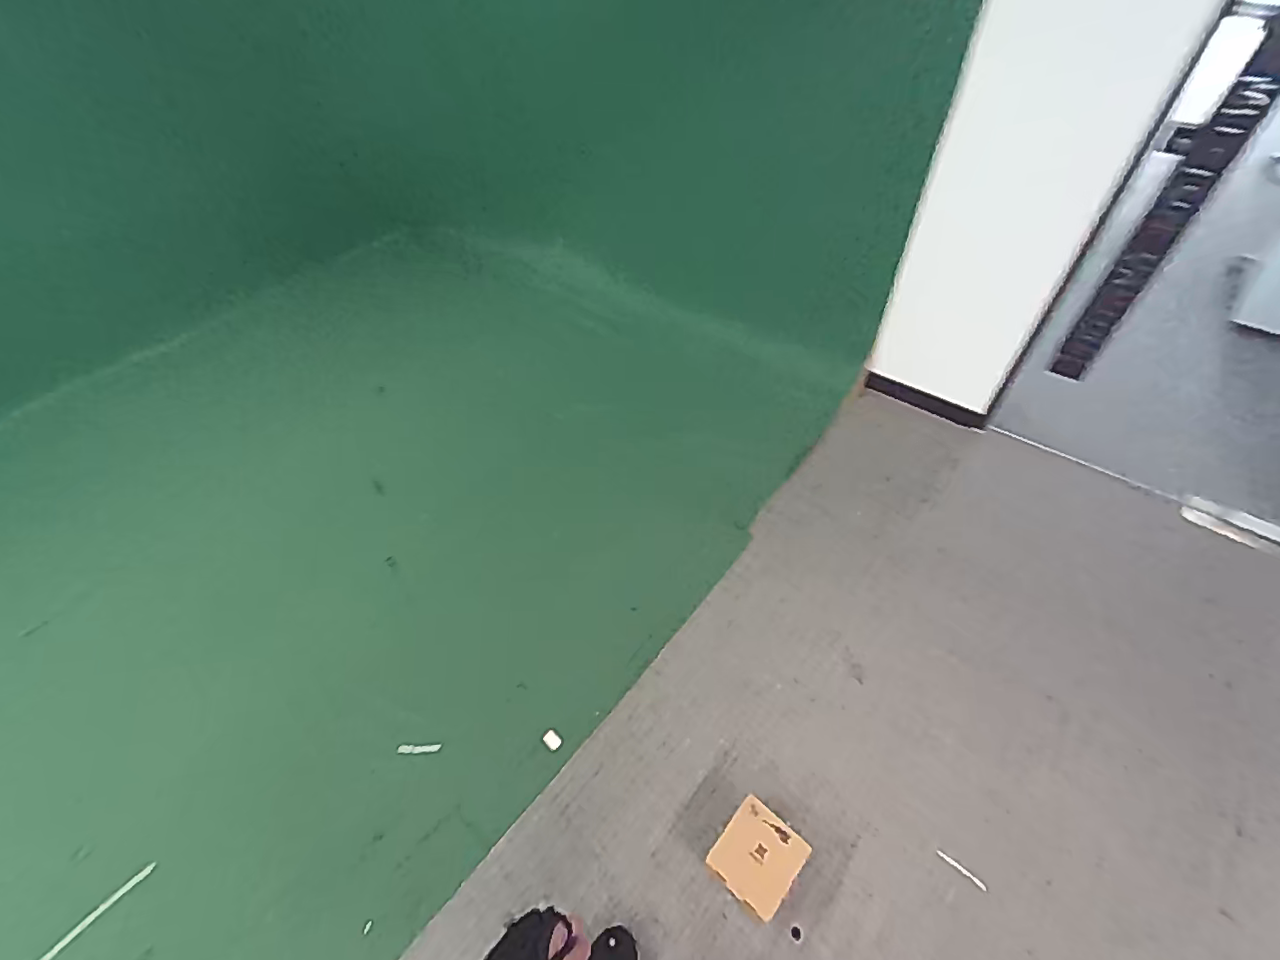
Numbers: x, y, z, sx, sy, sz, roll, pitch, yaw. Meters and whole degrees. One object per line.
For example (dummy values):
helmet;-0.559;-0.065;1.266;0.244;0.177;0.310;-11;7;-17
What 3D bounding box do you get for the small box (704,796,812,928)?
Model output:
small box;0.262;0.862;1.220;0.168;0.176;0.179;34;61;28
